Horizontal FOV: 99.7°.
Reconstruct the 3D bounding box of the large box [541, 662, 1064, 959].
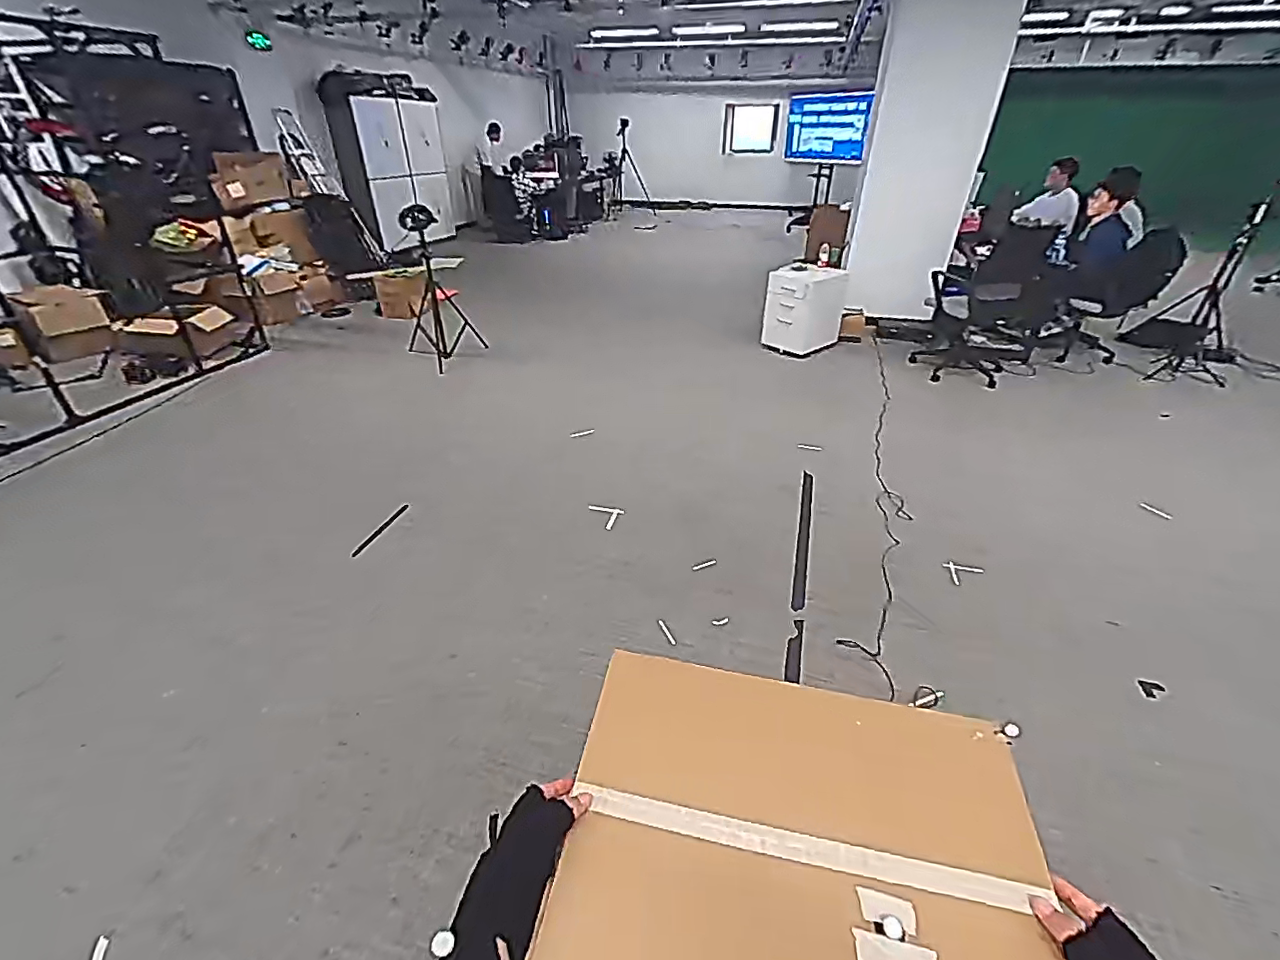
[{"bbox_3d":[0.135,0.441,0.561,0.408,0.320,0.320,9,40,9],"label":"large box"}]
